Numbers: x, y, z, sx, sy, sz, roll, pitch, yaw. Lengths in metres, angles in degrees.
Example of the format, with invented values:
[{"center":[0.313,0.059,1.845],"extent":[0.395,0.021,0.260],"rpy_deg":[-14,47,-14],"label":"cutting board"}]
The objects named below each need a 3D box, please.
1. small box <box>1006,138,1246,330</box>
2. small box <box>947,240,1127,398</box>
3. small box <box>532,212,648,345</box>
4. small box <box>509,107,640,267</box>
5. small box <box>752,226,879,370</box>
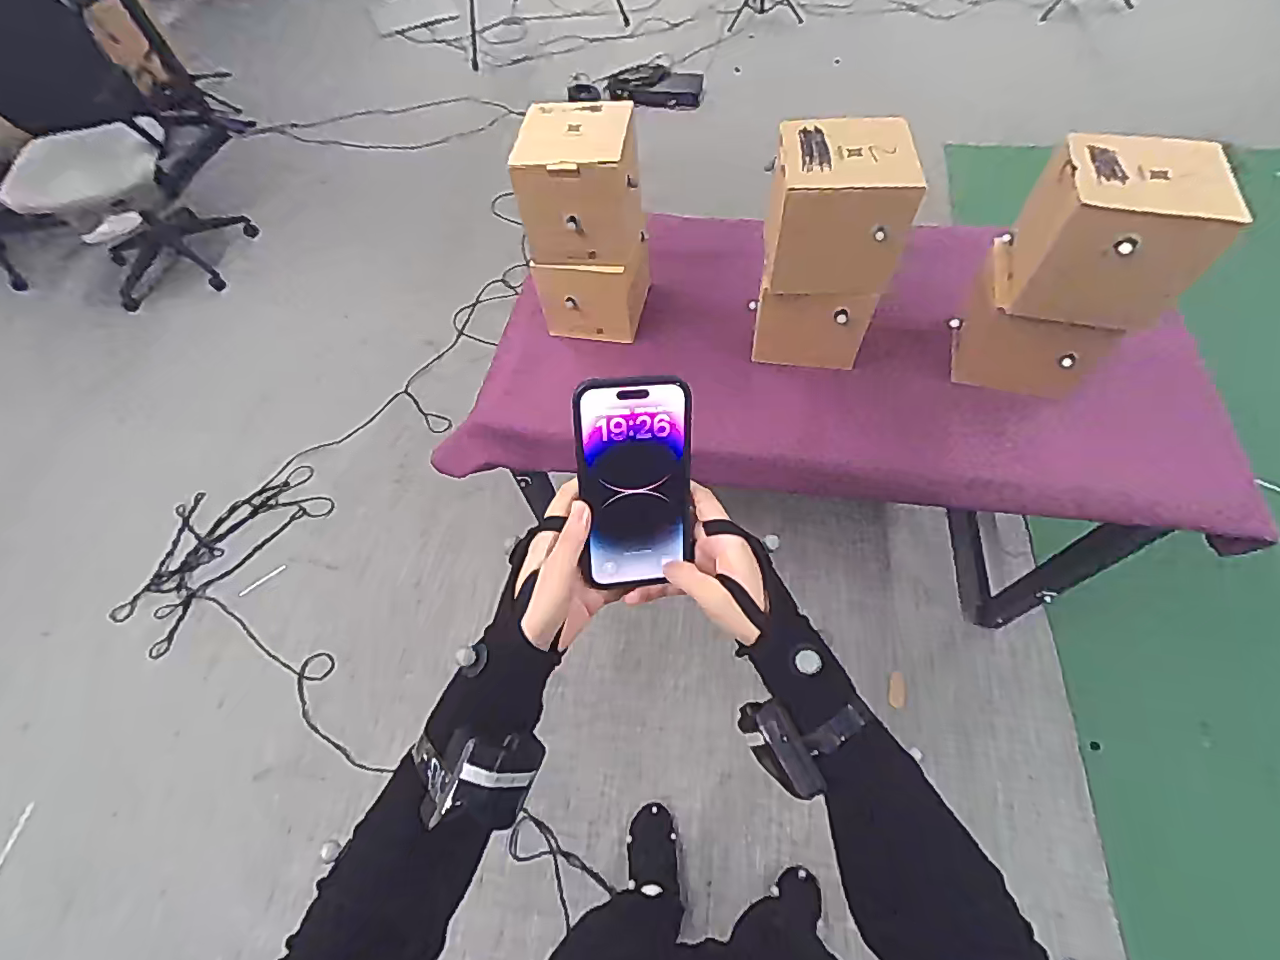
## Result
[{"center":[0.620,-0.324,0.724],"extent":[0.179,0.176,0.168],"rpy_deg":[13,61,12],"label":"small box"},{"center":[0.627,-0.254,0.872],"extent":[0.179,0.176,0.168],"rpy_deg":[13,61,13],"label":"small box"},{"center":[-0.081,-0.375,1.009],"extent":[0.168,0.176,0.179],"rpy_deg":[8,60,10],"label":"small box"},{"center":[-0.093,-0.466,0.873],"extent":[0.168,0.176,0.179],"rpy_deg":[4,60,6],"label":"small box"},{"center":[0.297,-0.309,0.934],"extent":[0.179,0.176,0.168],"rpy_deg":[7,60,10],"label":"small box"}]
